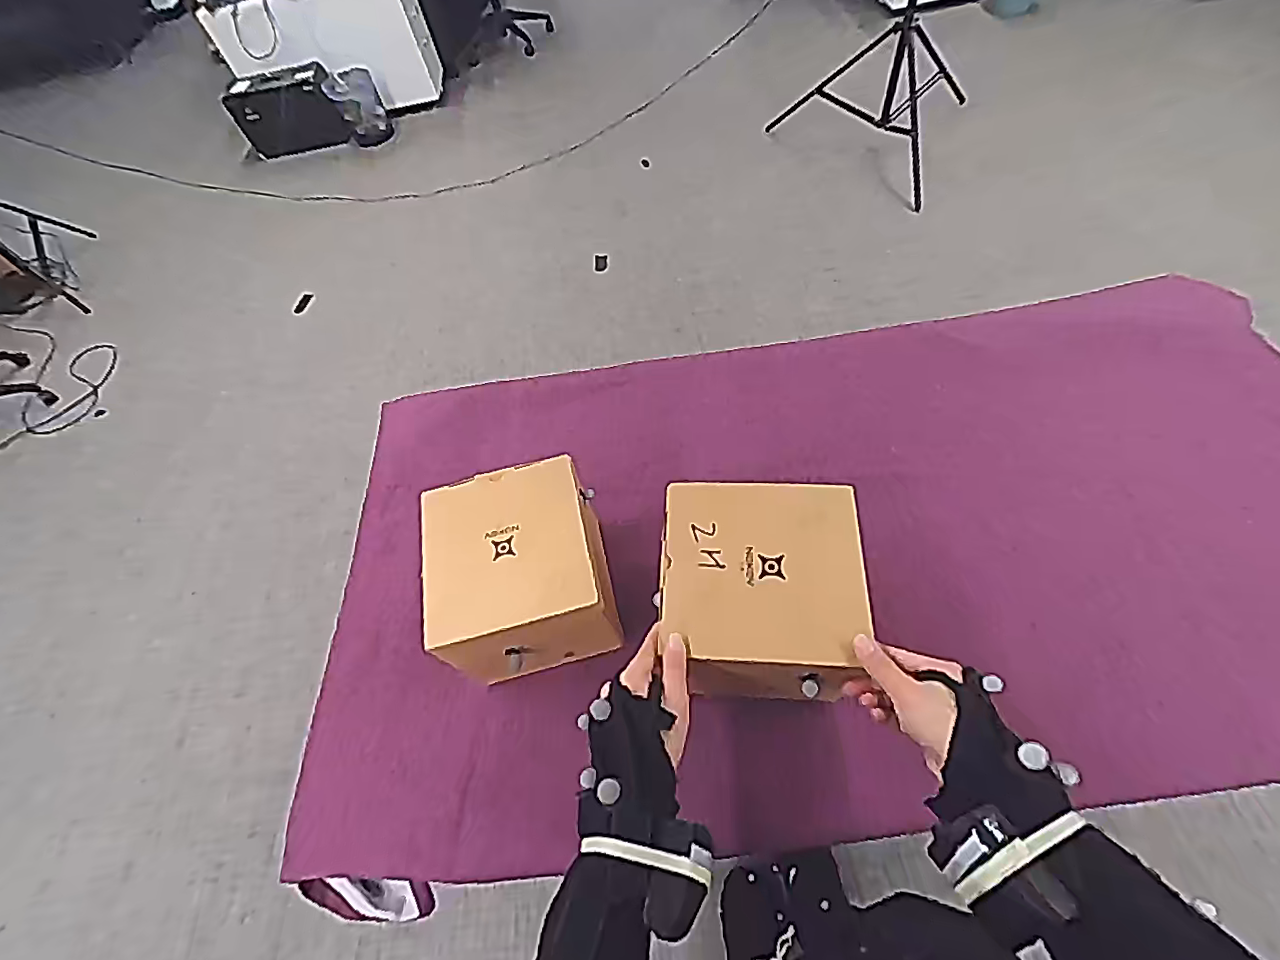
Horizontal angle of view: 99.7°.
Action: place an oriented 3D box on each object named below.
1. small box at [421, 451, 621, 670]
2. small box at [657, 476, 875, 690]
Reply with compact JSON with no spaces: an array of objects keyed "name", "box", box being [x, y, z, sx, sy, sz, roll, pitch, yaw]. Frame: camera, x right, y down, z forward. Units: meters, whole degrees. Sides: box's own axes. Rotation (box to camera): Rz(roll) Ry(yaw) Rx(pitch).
[{"name":"small box","box":[-0.126,0.100,0.607,0.168,0.176,0.179,-16,57,-1]},{"name":"small box","box":[0.114,0.109,0.543,0.179,0.176,0.168,0,59,7]}]
